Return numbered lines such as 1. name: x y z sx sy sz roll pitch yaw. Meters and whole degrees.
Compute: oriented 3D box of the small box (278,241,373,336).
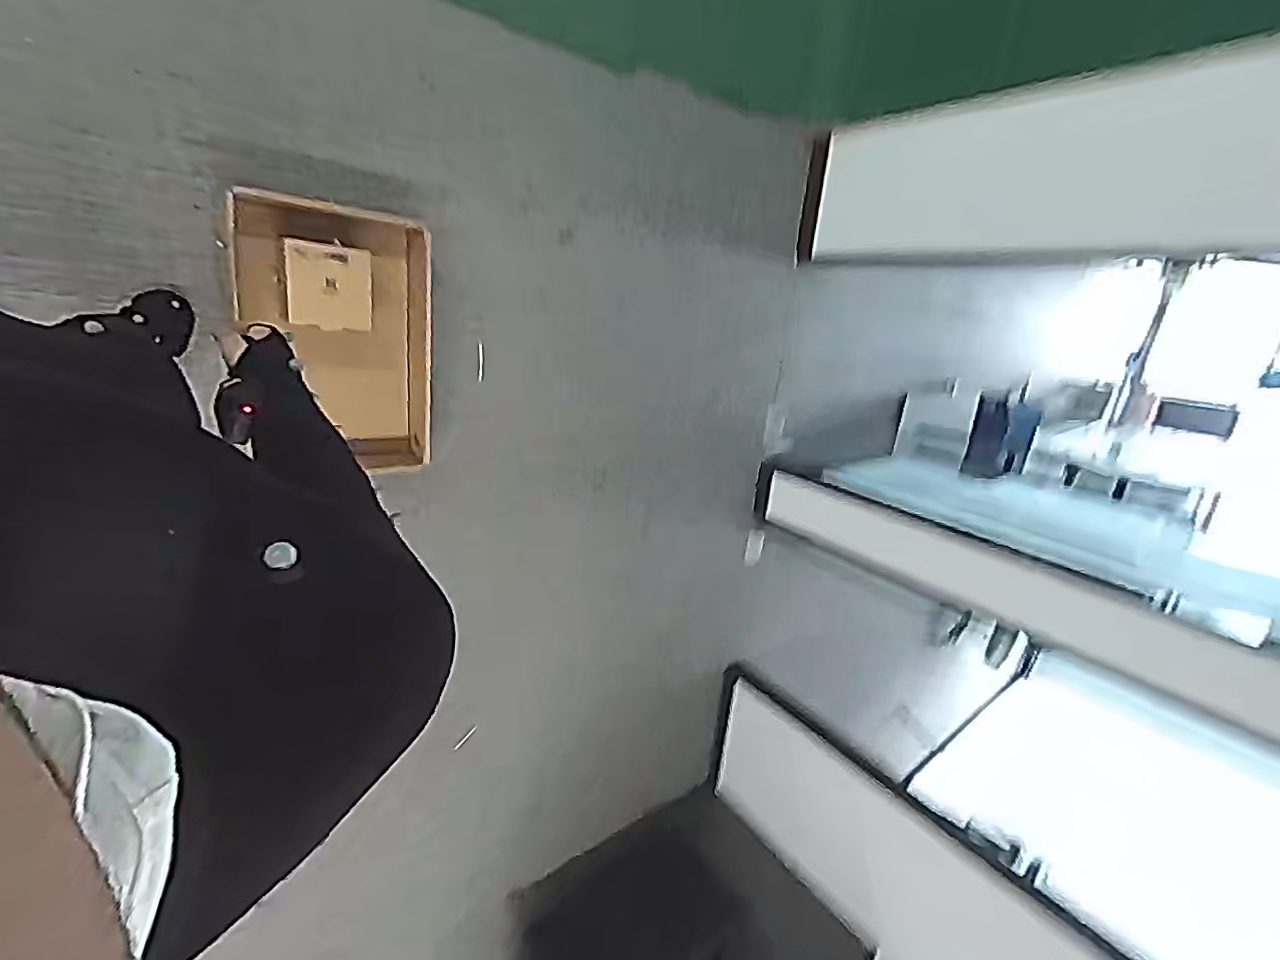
1. small box: -0.724 -0.439 1.243 0.168 0.176 0.179 -5 112 -39
